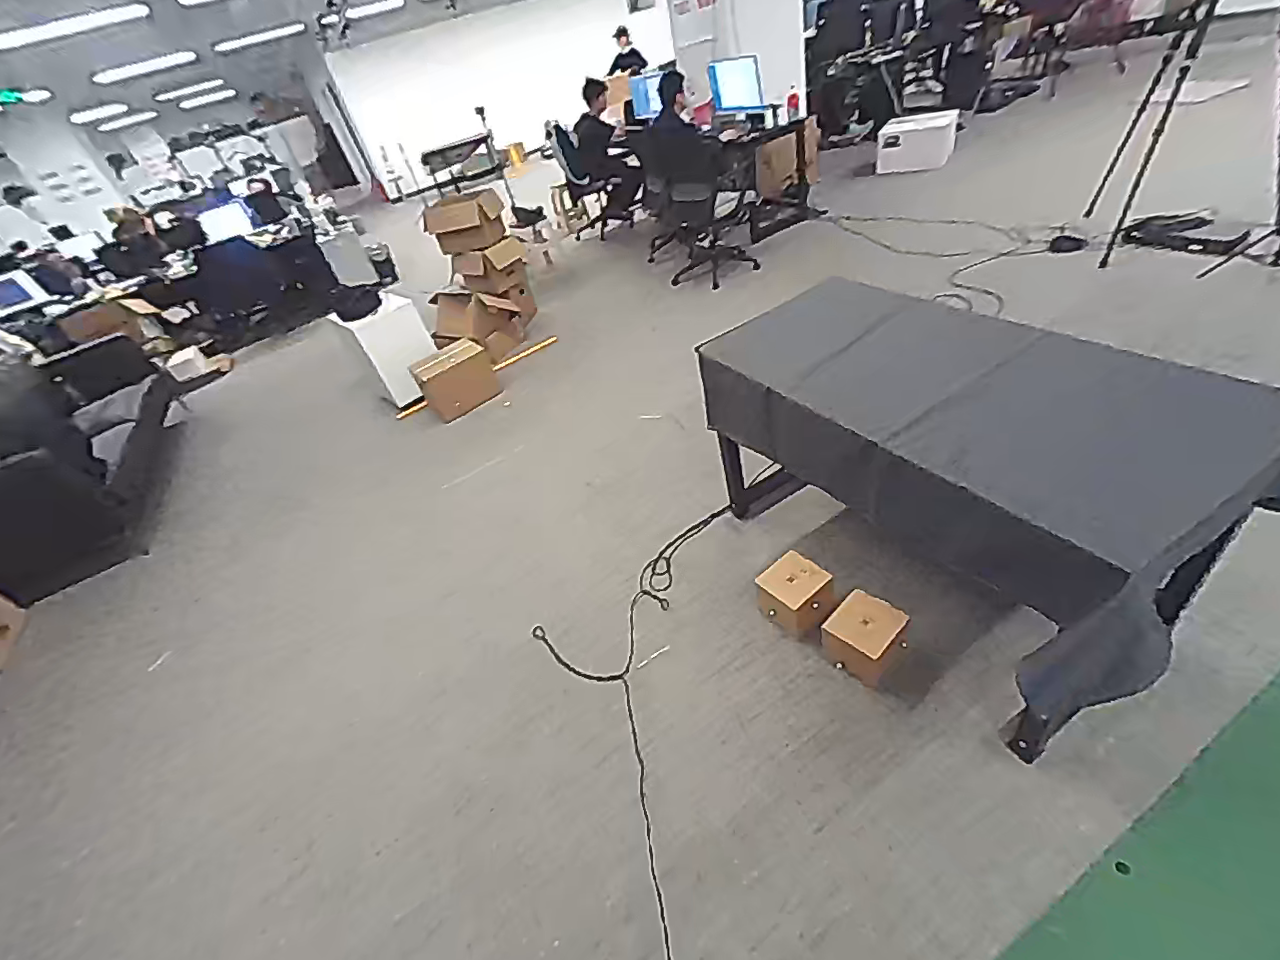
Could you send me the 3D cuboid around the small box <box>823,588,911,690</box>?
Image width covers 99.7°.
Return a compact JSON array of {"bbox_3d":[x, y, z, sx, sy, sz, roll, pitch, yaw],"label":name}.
[{"bbox_3d":[0.636,0.449,1.531,0.179,0.176,0.168,-37,42,-24],"label":"small box"}]
